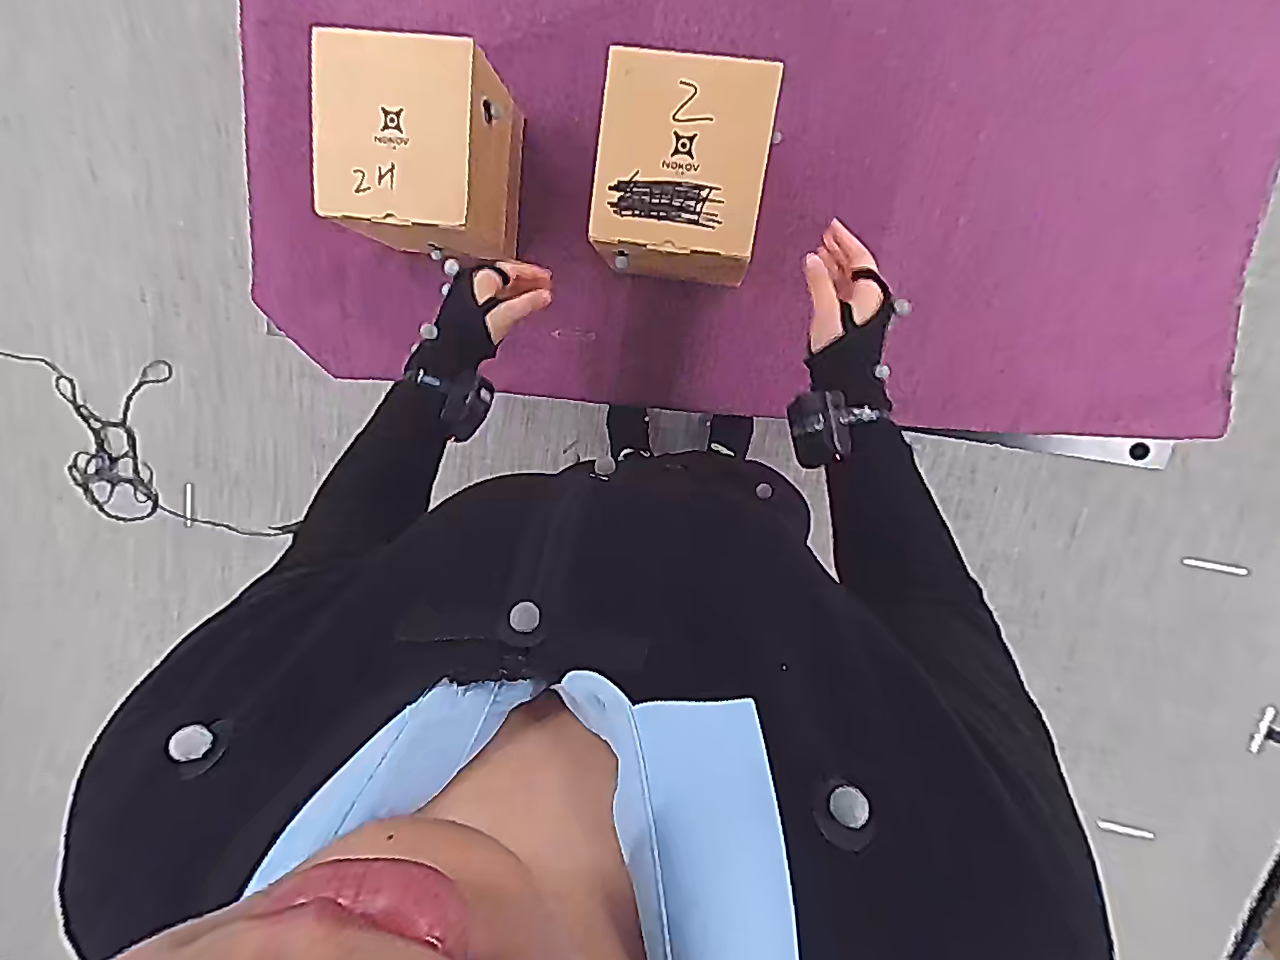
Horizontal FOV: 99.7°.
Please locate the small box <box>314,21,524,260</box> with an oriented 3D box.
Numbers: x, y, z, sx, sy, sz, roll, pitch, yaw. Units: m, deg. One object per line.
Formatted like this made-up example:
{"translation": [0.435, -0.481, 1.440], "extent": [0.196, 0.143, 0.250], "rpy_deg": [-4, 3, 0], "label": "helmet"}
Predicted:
{"translation": [-0.237, -0.365, 0.613], "extent": [0.168, 0.176, 0.179], "rpy_deg": [7, 102, 4], "label": "small box"}
